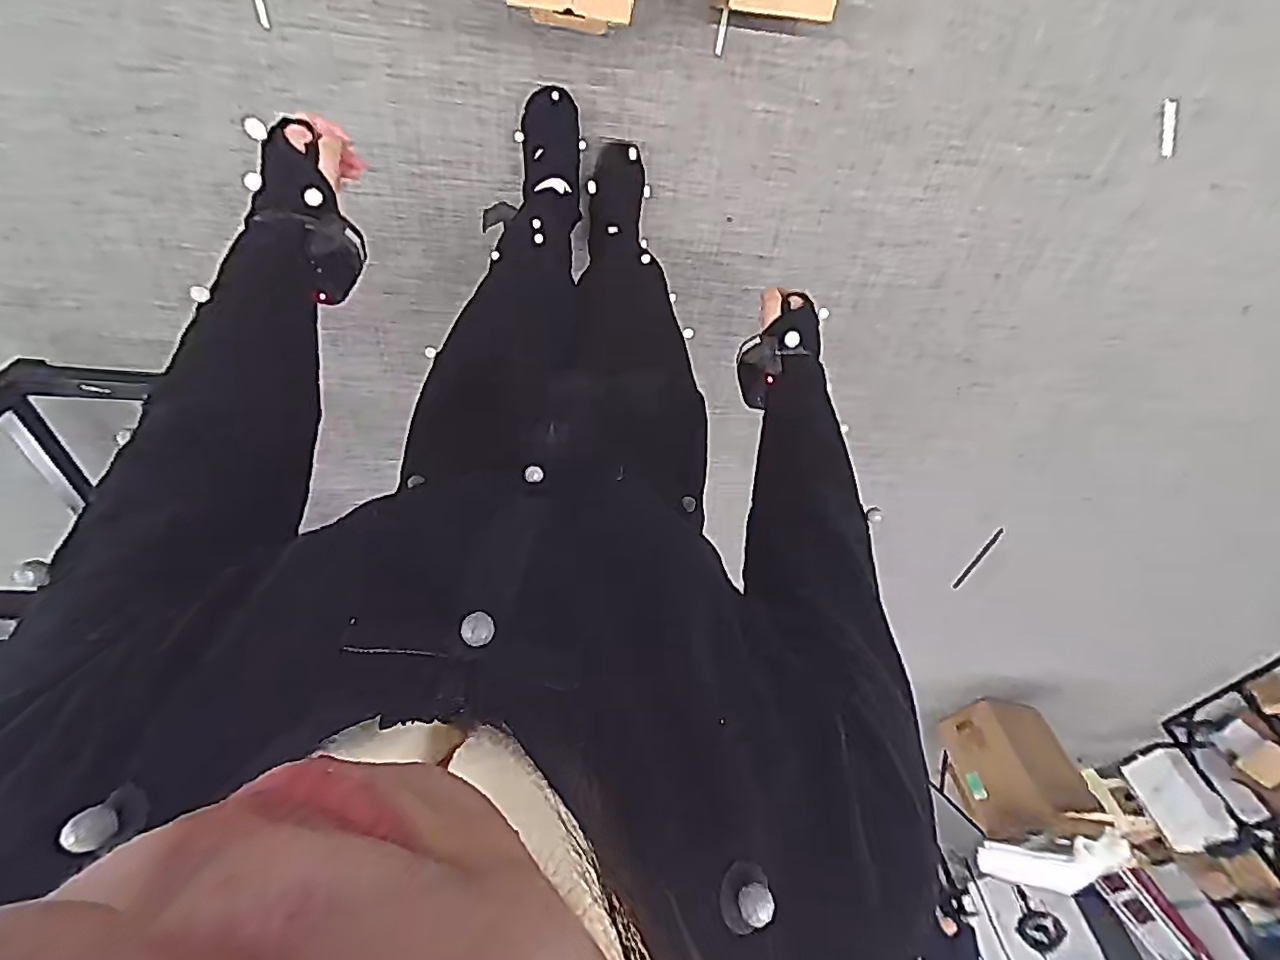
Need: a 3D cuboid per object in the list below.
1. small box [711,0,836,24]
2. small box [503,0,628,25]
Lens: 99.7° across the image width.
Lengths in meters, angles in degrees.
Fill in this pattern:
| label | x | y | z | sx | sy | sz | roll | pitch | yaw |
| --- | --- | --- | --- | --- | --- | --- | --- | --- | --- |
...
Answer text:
| label | x | y | z | sx | sy | sz | roll | pitch | yaw |
| --- | --- | --- | --- | --- | --- | --- | --- | --- | --- |
| small box | 0.221 | -0.849 | 0.857 | 0.179 | 0.176 | 0.168 | 1 | 133 | -8 |
| small box | -0.092 | -0.727 | 0.708 | 0.168 | 0.176 | 0.179 | 2 | 132 | -10 |
